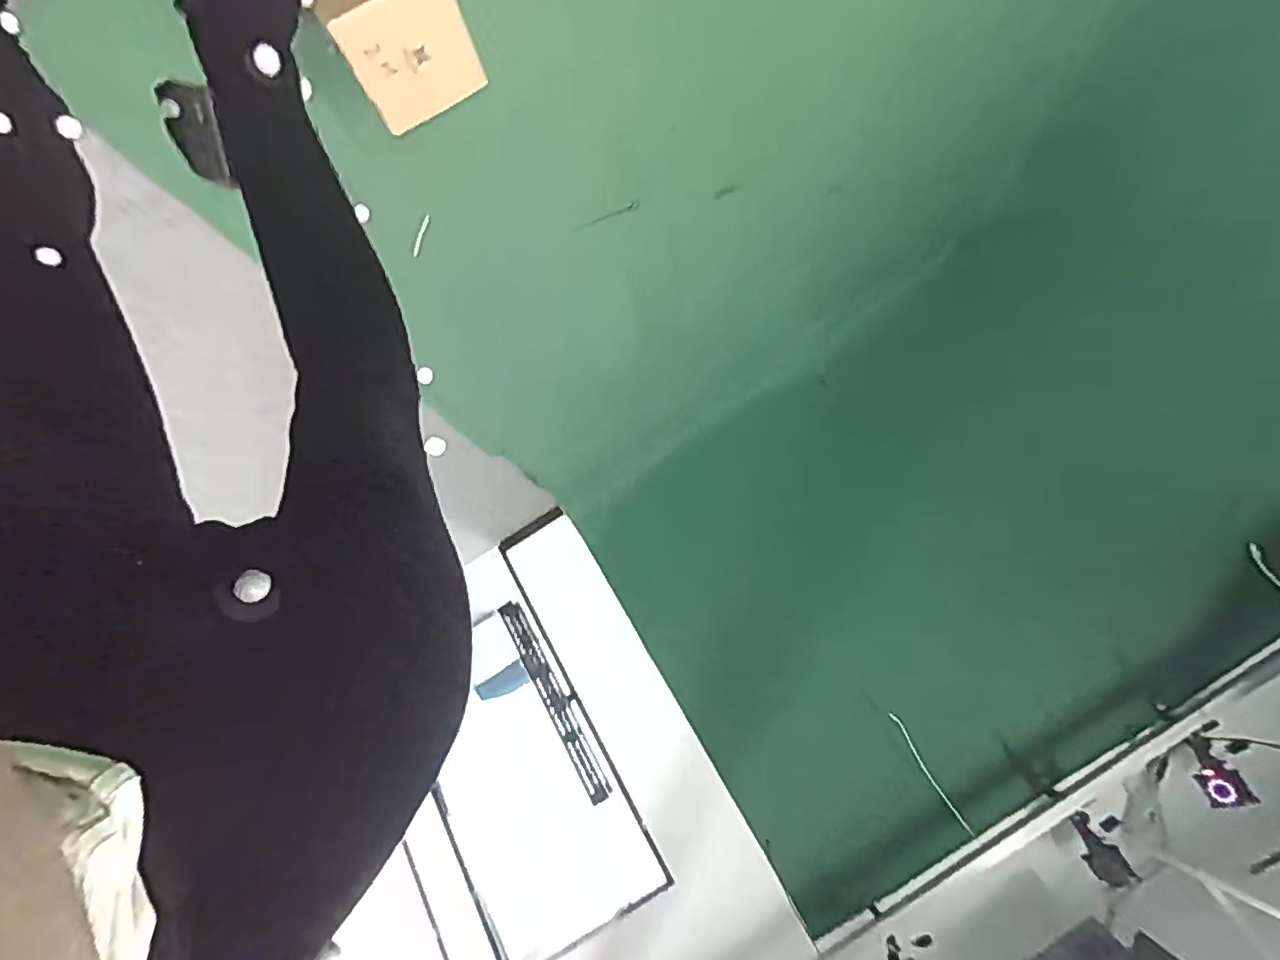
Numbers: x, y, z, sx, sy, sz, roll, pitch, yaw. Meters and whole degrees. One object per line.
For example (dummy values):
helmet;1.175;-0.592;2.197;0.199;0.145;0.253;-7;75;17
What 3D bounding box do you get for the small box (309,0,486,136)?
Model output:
small box;-0.370;-0.682;0.817;0.179;0.176;0.168;-32;161;-3
